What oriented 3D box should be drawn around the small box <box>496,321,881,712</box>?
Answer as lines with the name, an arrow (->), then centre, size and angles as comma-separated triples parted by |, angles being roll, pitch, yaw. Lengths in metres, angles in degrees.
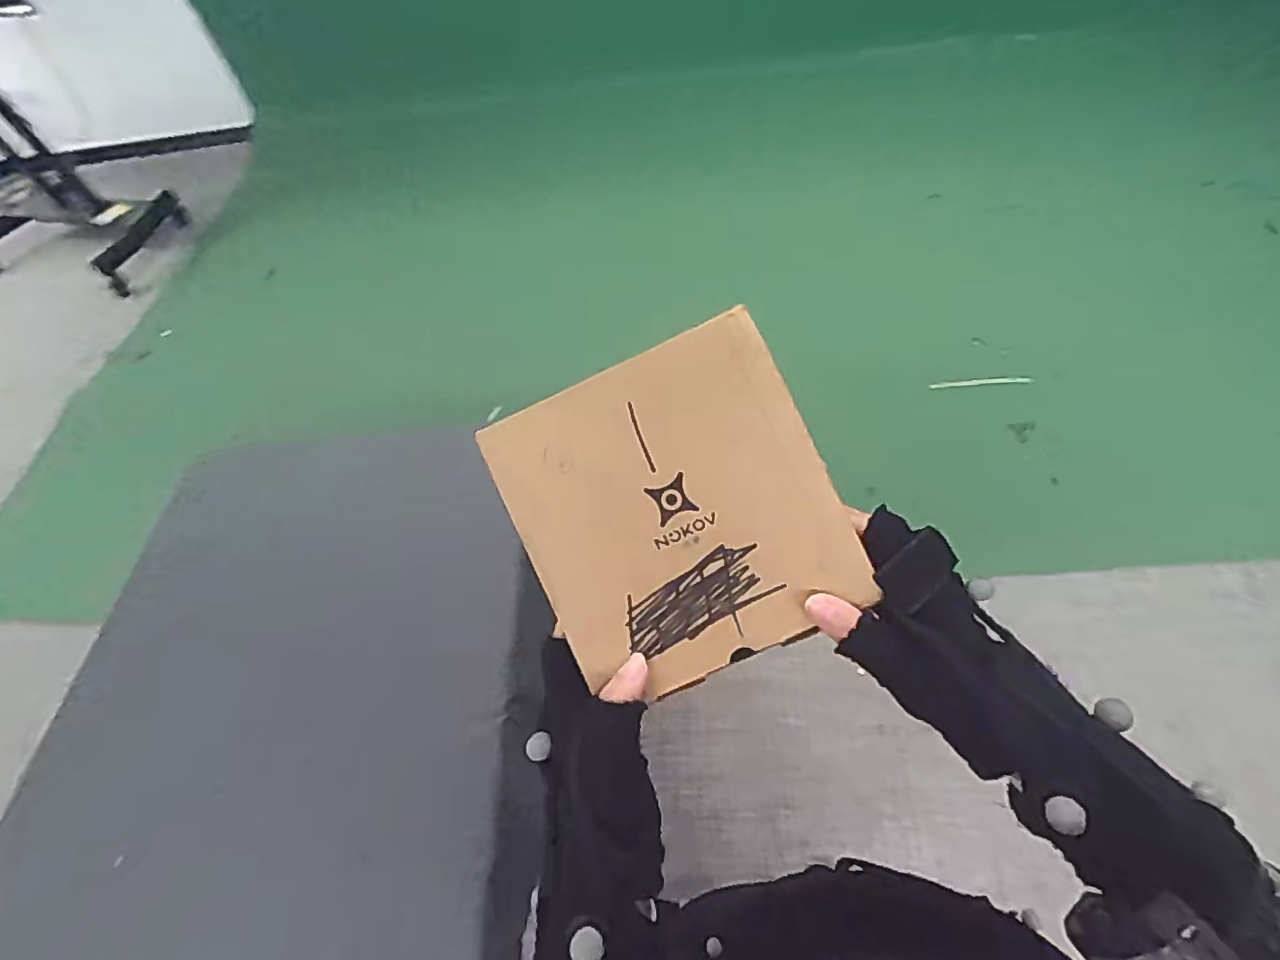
small box -> 0.030, 0.021, 0.378 | 0.168, 0.176, 0.179 | -24, 88, 3
